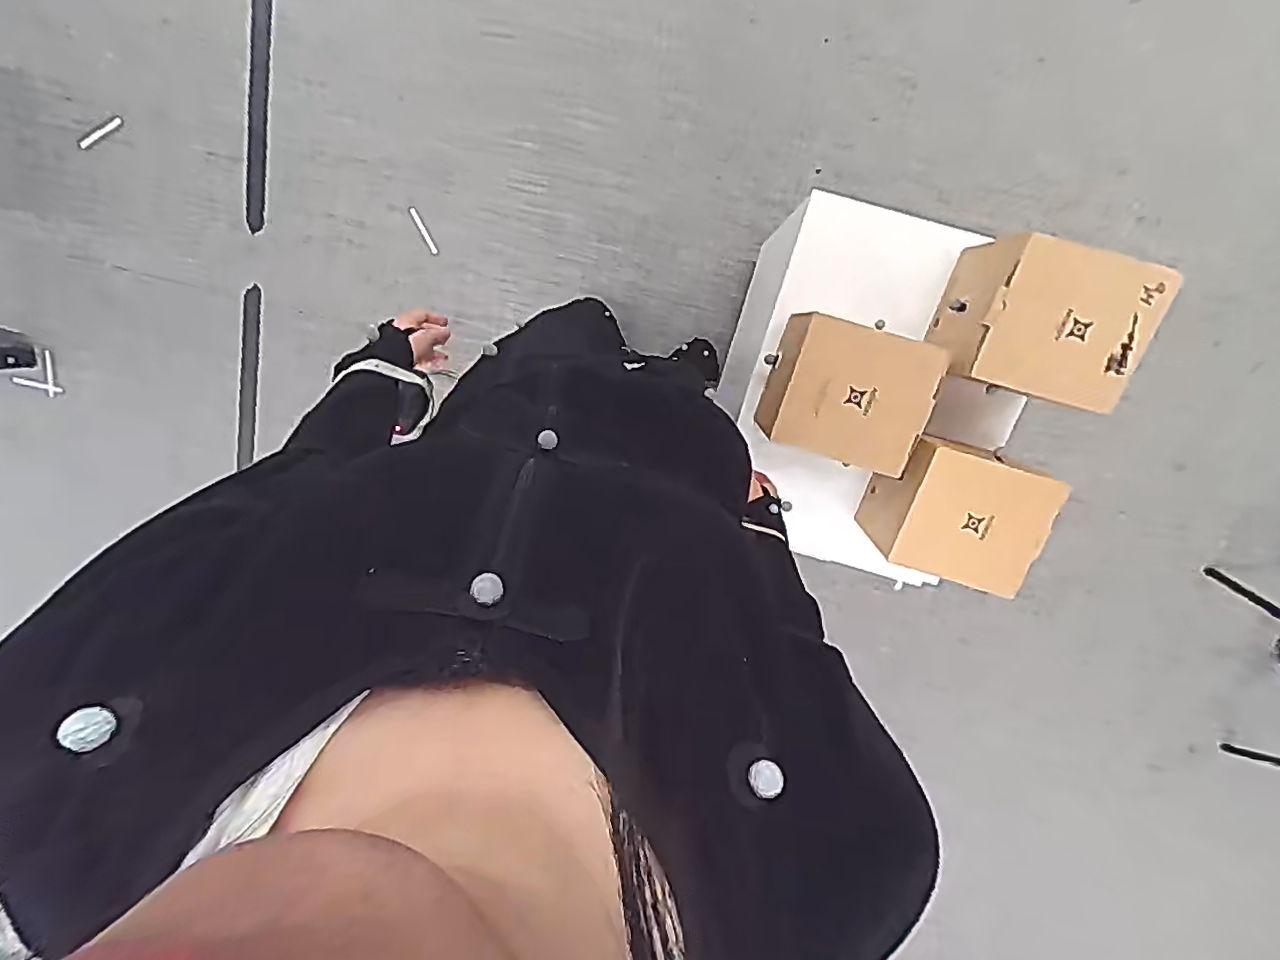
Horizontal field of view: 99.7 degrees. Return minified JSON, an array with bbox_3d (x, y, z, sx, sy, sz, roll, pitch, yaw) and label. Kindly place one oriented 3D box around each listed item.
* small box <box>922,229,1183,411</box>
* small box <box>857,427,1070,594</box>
[{"bbox_3d":[0.498,-0.201,0.691,0.179,0.176,0.168,17,108,2],"label":"small box"},{"bbox_3d":[0.436,0.031,0.768,0.179,0.176,0.168,17,107,1],"label":"small box"}]
